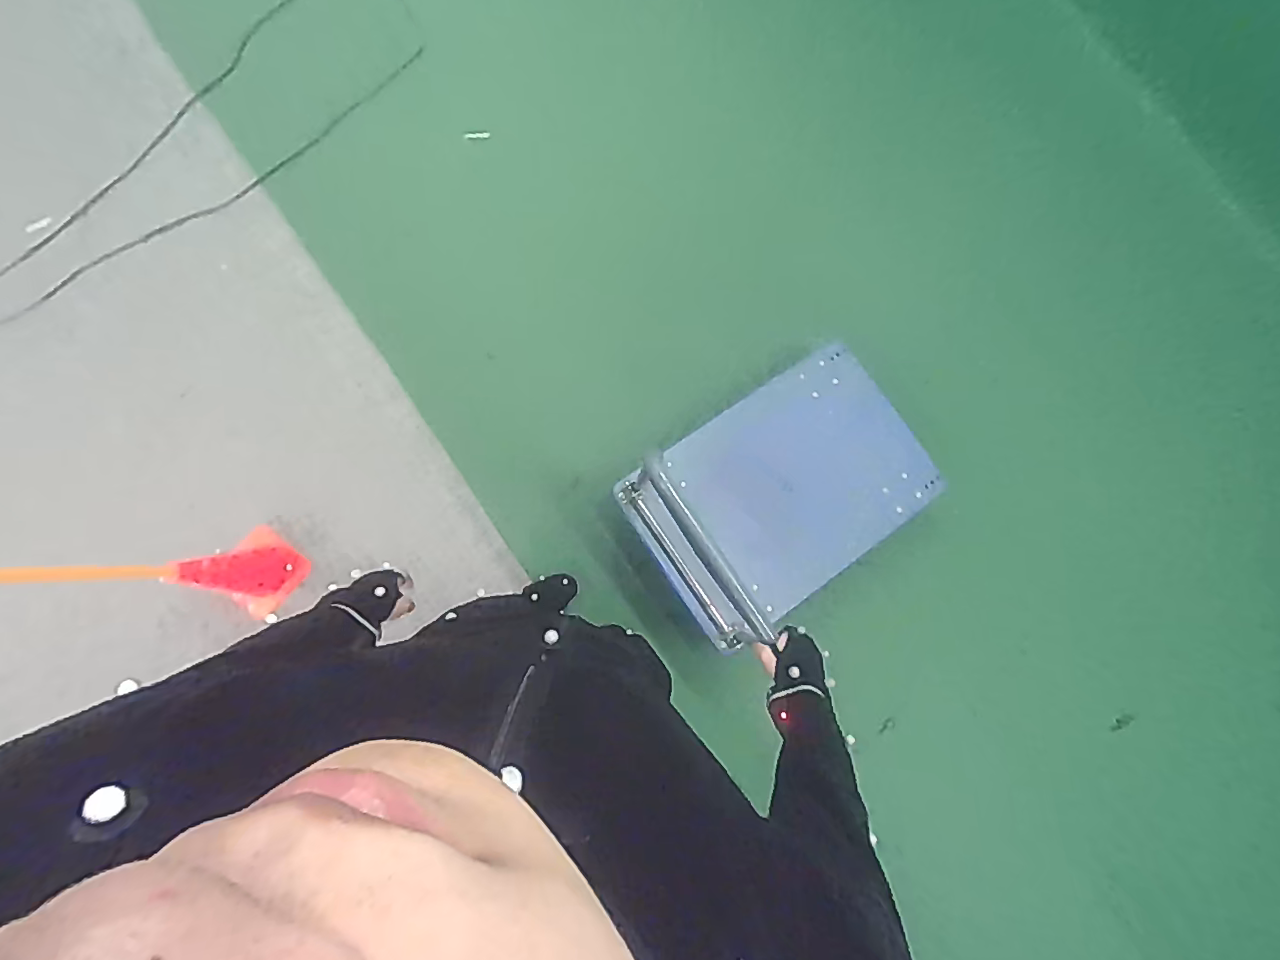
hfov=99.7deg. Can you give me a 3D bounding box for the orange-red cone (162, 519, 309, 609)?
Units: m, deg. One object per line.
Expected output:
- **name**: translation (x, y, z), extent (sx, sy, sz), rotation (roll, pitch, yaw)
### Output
- **orange-red cone**: translation (-1.061, 0.207, 1.372), extent (0.199, 0.360, 0.198), rotation (41, 78, 3)
